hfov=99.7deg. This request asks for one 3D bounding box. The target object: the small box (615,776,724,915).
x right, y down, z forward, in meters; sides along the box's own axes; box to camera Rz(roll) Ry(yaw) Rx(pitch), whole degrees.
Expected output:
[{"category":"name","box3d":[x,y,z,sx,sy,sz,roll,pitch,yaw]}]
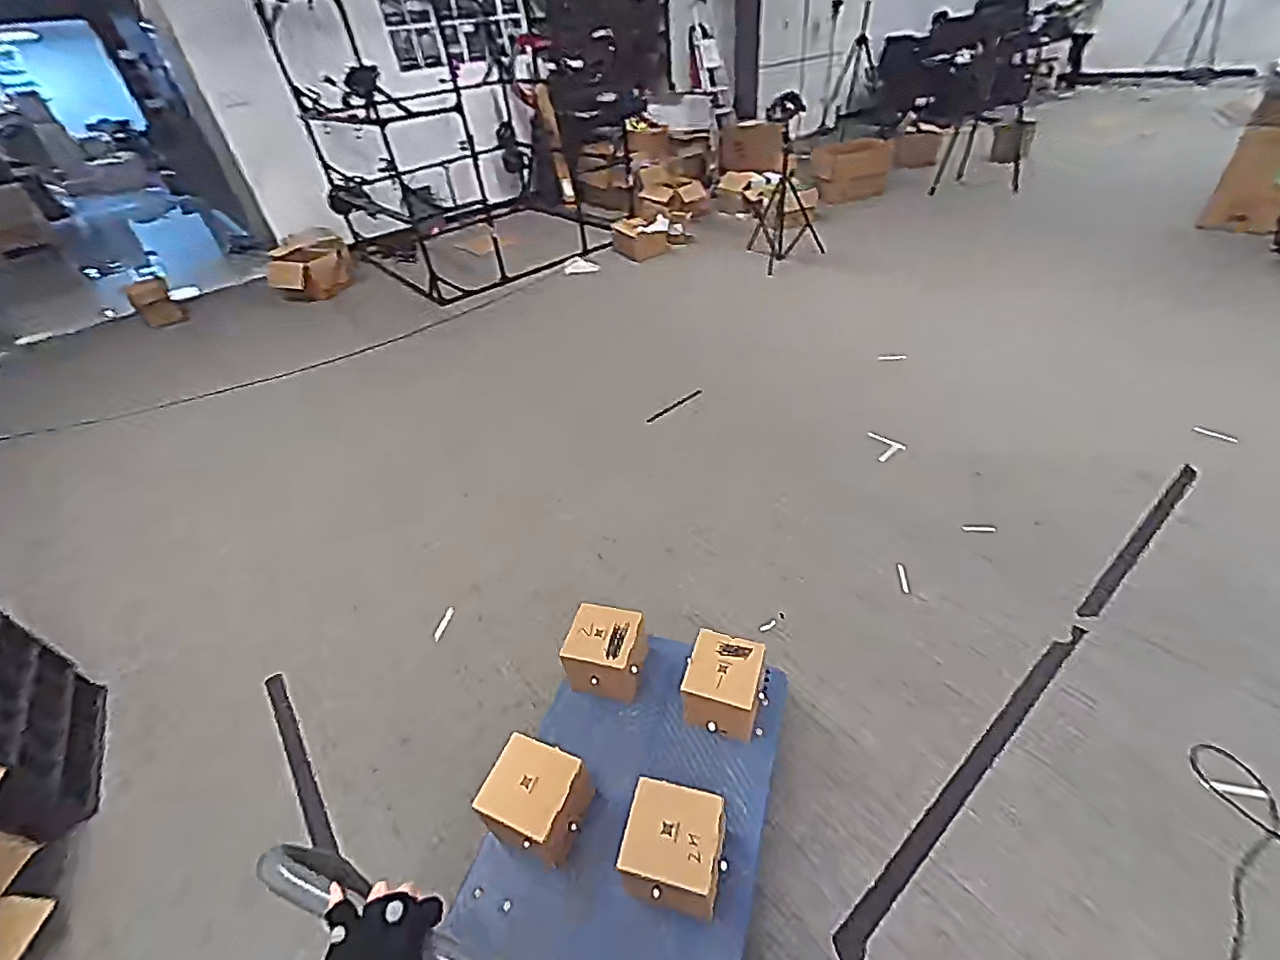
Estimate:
[{"category":"small box","box3d":[0.067,0.725,1.073,0.179,0.176,0.168,6,42,16]}]

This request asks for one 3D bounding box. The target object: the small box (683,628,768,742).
[{"category":"small box","box3d":[0.210,0.500,1.322,0.168,0.176,0.179,10,44,20]}]

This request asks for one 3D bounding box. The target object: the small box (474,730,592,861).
[{"category":"small box","box3d":[-0.223,0.684,1.170,0.179,0.176,0.168,12,43,20]}]
